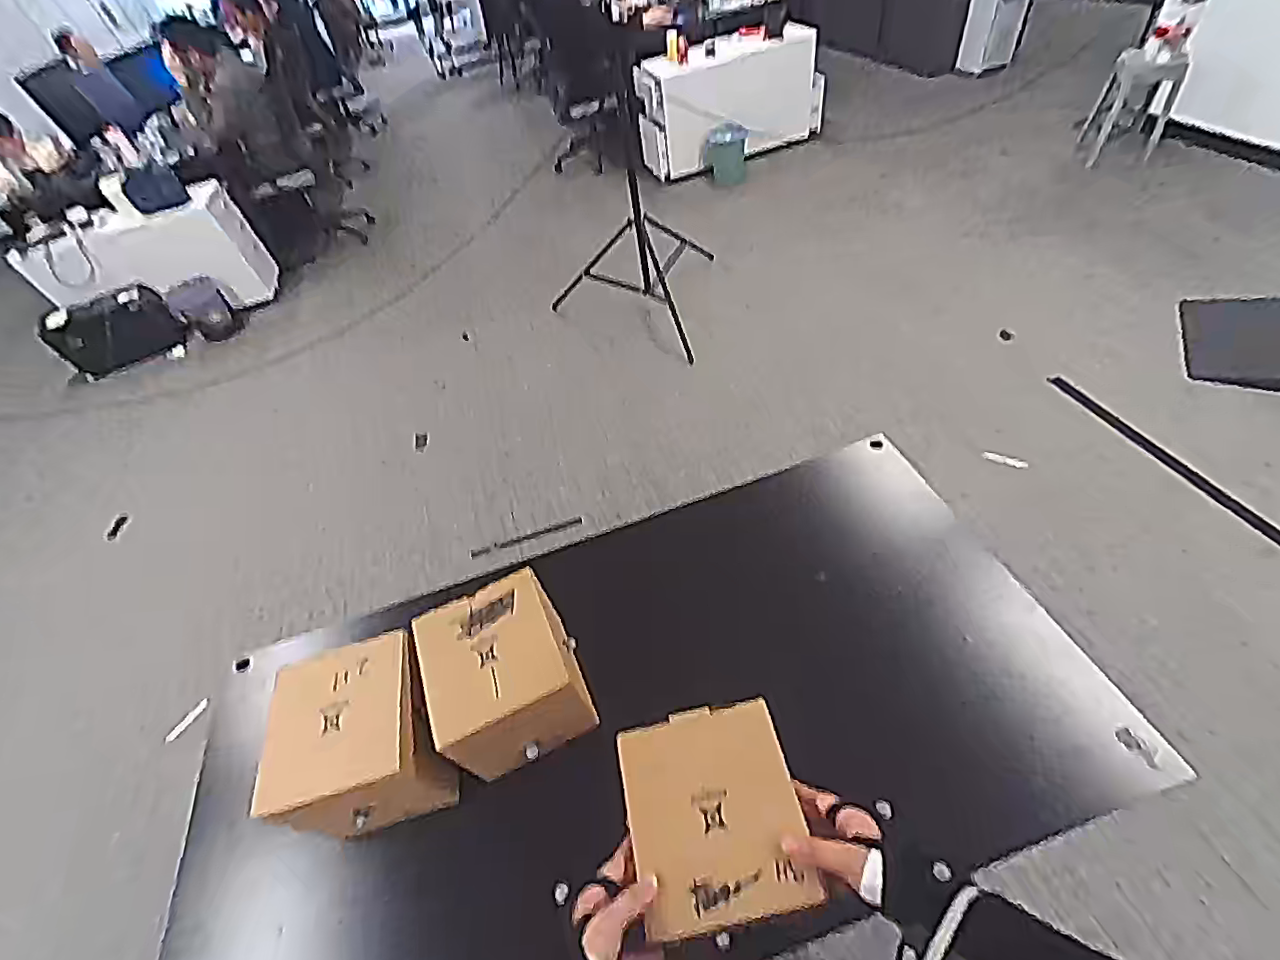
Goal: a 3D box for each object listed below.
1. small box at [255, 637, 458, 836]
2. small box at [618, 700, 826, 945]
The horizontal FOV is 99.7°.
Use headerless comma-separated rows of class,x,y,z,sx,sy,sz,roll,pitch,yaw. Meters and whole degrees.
small box,-0.348,0.338,0.702,0.168,0.176,0.179,-17,48,-4
small box,0.081,0.369,0.582,0.168,0.176,0.179,-15,47,0
